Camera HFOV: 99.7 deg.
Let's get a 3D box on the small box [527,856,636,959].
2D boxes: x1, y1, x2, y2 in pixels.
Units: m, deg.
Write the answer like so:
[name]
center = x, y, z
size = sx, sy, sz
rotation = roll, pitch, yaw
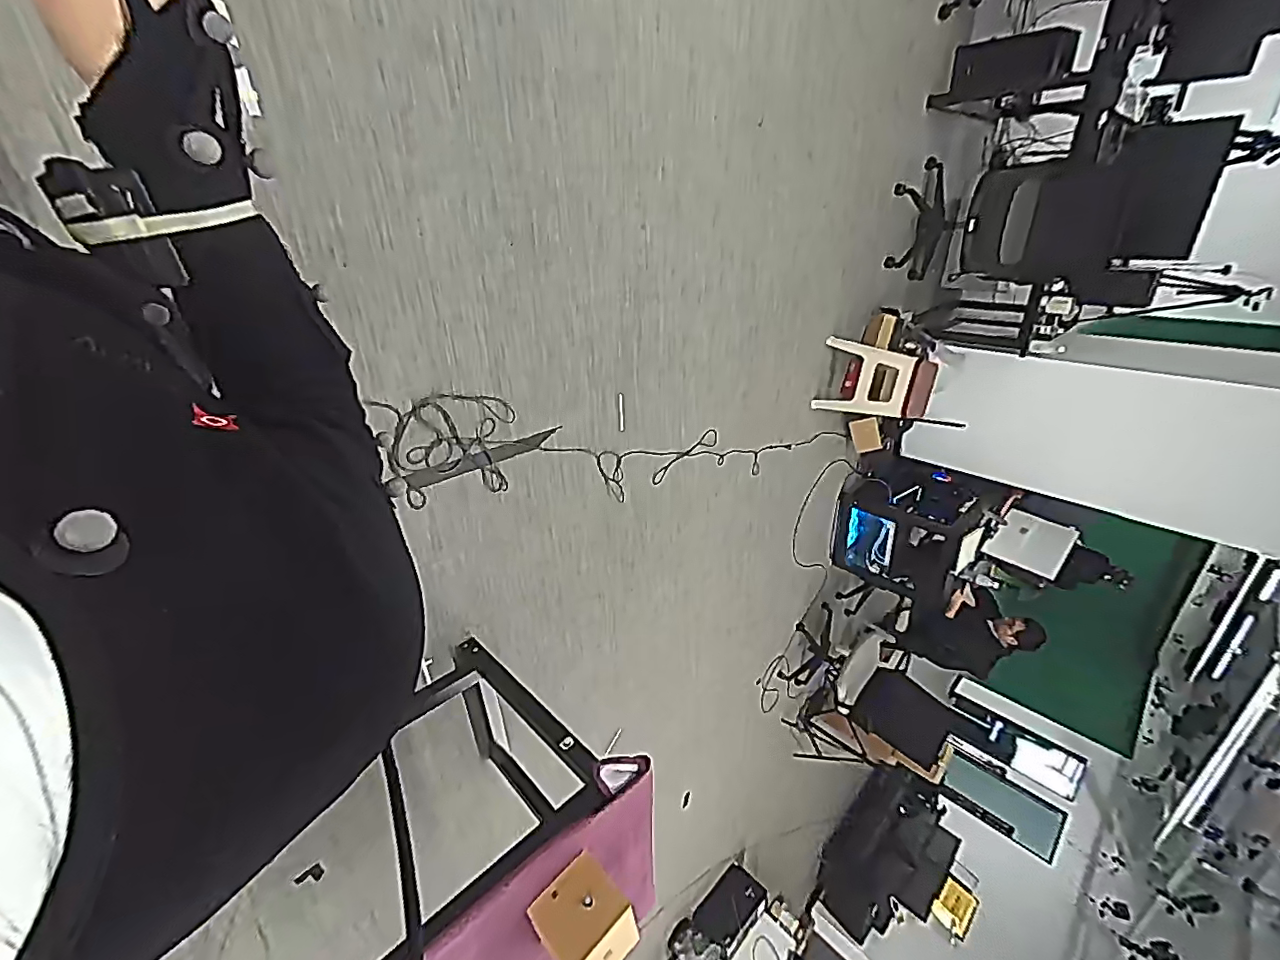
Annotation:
[small box]
center = -0.132, 0.994, 1.208
size = 0.168, 0.176, 0.179
rotation = -31, 128, -34
